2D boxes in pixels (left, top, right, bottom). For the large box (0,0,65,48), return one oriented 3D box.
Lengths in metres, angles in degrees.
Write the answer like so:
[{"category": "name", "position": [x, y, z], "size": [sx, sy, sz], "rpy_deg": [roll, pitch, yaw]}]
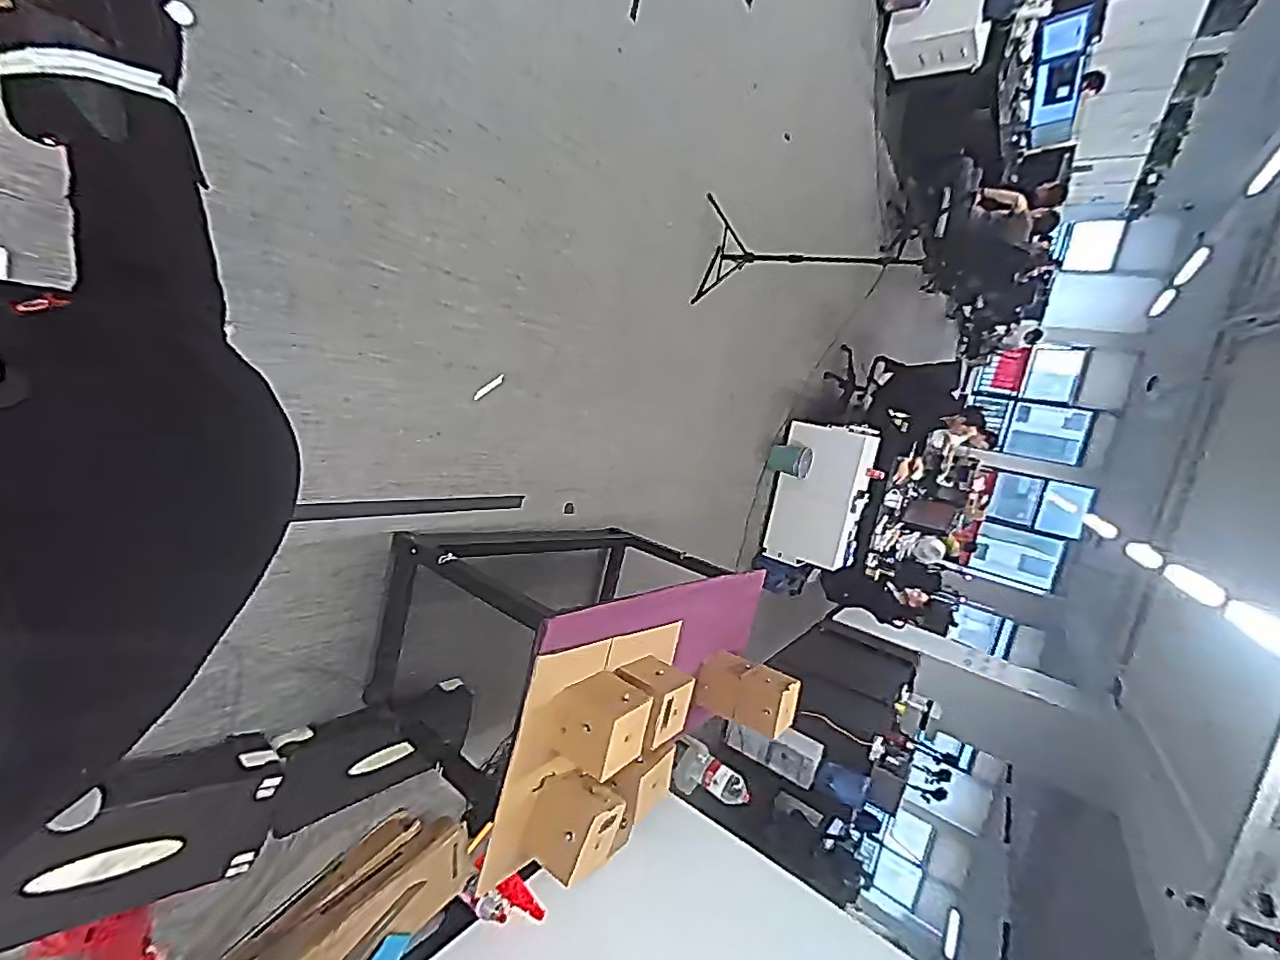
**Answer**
[{"category": "large box", "position": [-0.579, -0.446, 0.219], "size": [0.408, 0.320, 0.320], "rpy_deg": [-16, 123, -53]}]
